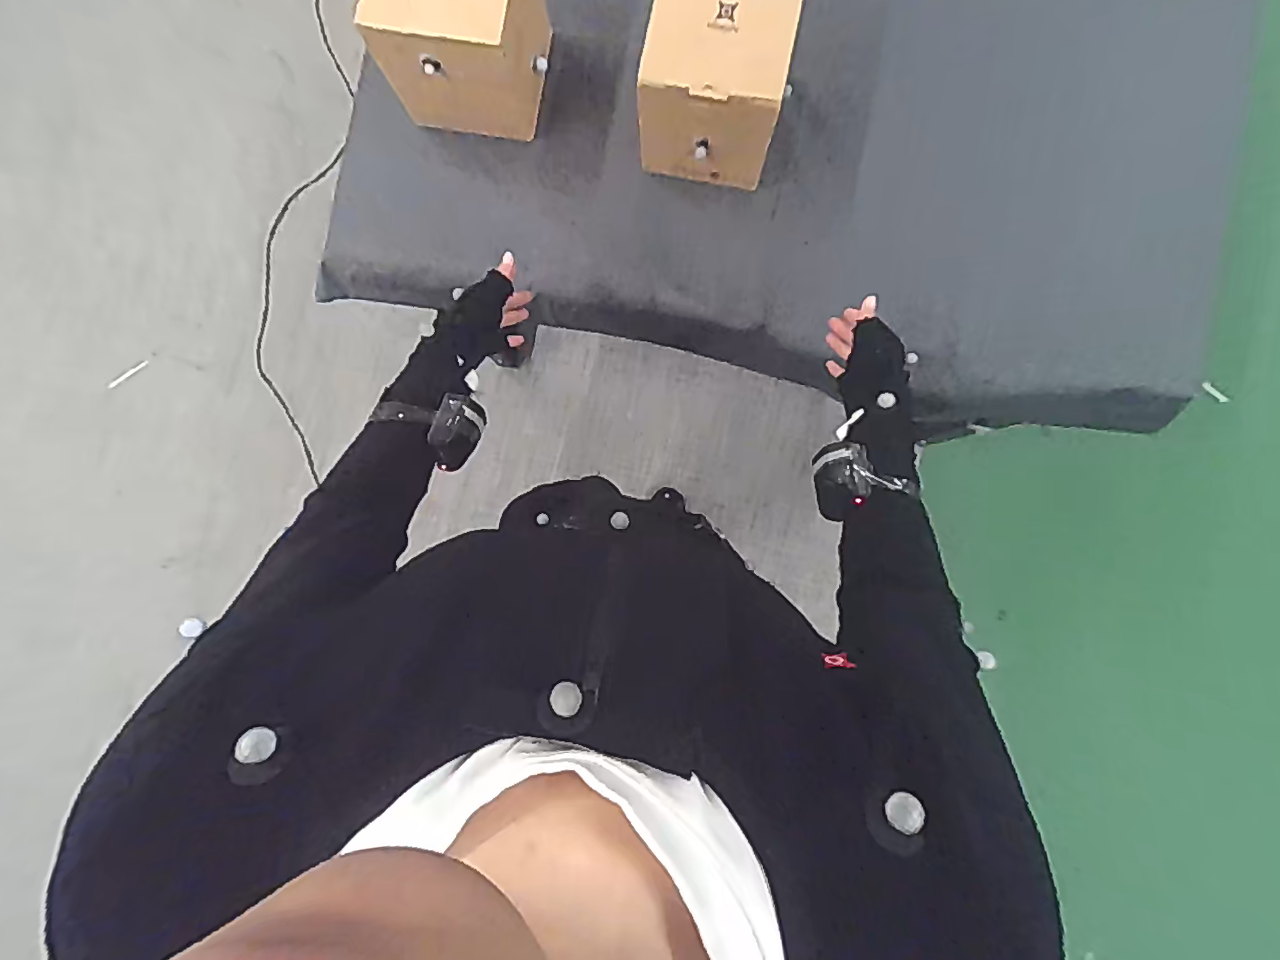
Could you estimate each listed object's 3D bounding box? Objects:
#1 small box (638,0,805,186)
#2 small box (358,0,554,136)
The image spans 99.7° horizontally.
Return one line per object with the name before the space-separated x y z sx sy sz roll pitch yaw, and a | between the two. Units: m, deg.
small box | 0.100 -0.508 0.683 0.168 0.176 0.179 12 89 3
small box | -0.223 -0.583 0.700 0.179 0.176 0.168 10 88 1
